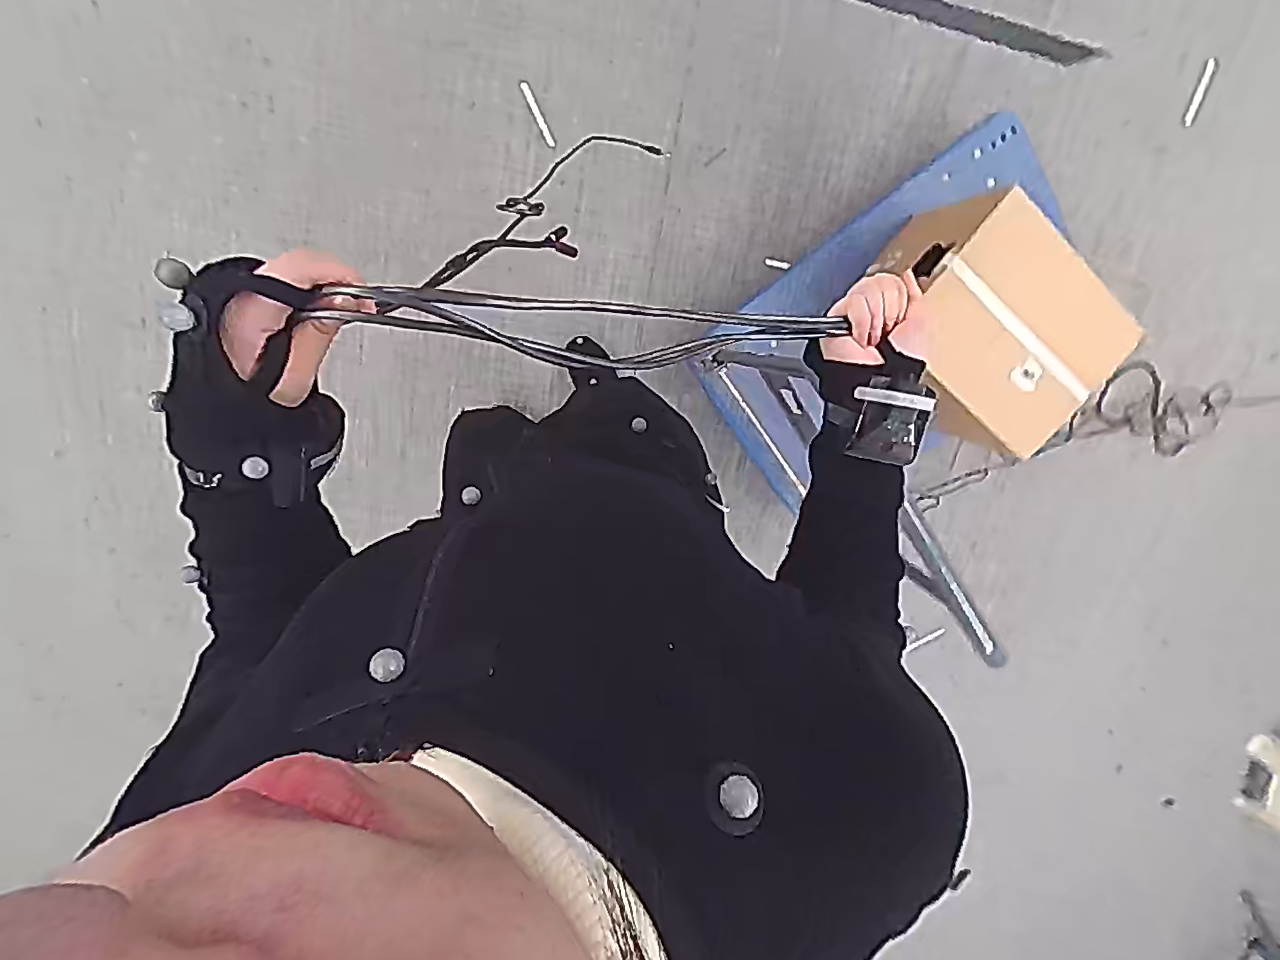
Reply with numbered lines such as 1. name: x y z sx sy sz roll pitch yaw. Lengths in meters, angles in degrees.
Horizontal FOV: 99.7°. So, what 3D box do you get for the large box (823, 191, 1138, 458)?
1. large box: 0.676 -0.312 1.133 0.408 0.320 0.320 37 101 -15
